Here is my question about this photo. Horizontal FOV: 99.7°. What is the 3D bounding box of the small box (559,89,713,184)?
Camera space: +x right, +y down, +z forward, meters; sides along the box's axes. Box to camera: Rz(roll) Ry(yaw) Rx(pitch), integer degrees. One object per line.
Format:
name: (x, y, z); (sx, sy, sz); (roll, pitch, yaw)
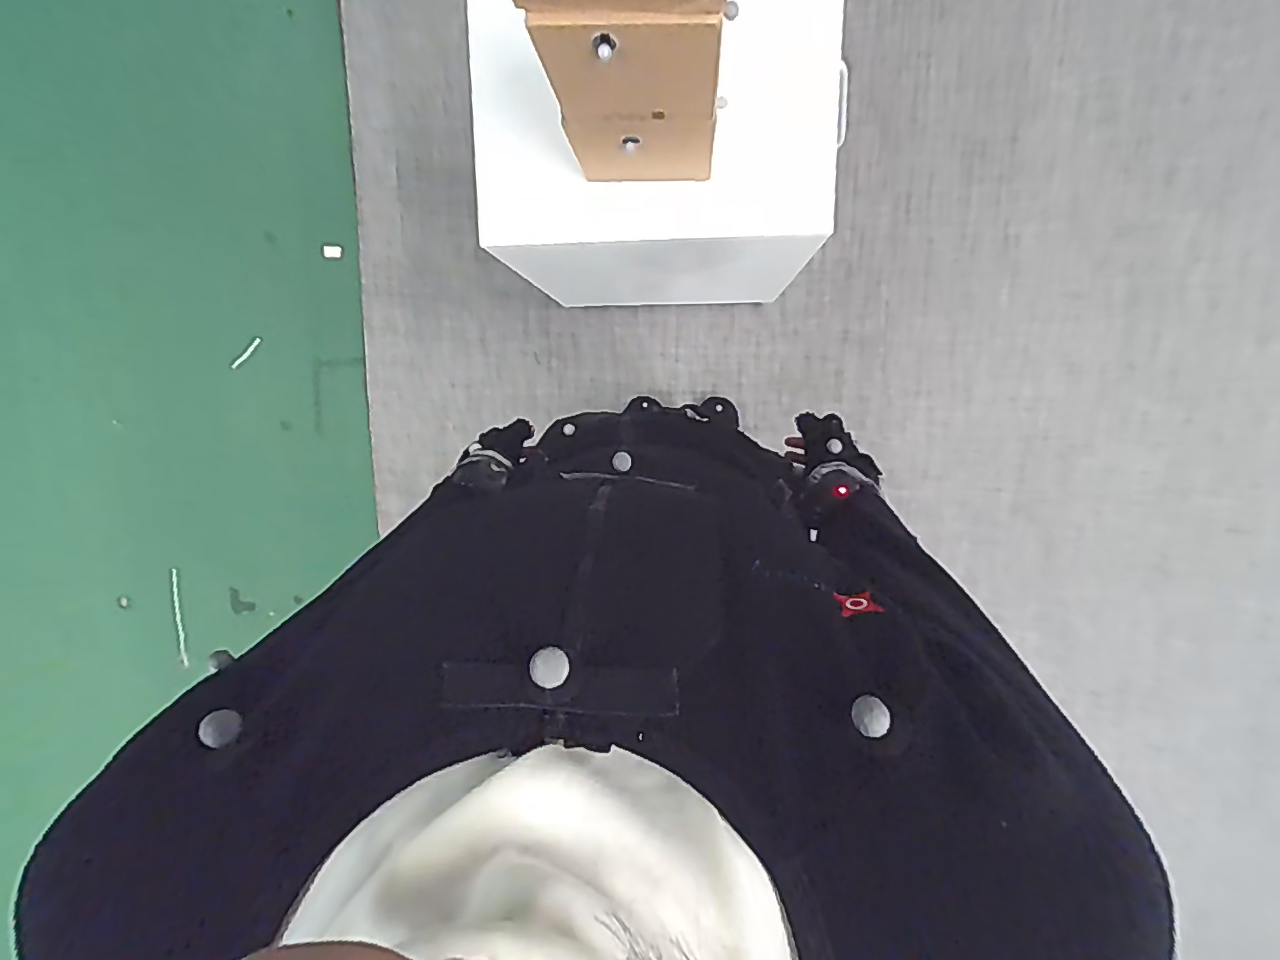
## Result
small box: (0.004, -0.489, 0.677); (0.179, 0.176, 0.168); (2, 98, 5)

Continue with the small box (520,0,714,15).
small box: (-0.021, -0.451, 0.355); (0.179, 0.176, 0.168); (4, 101, 4)

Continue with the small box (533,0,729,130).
small box: (-0.004, -0.470, 0.518); (0.168, 0.176, 0.179); (1, 99, 4)
